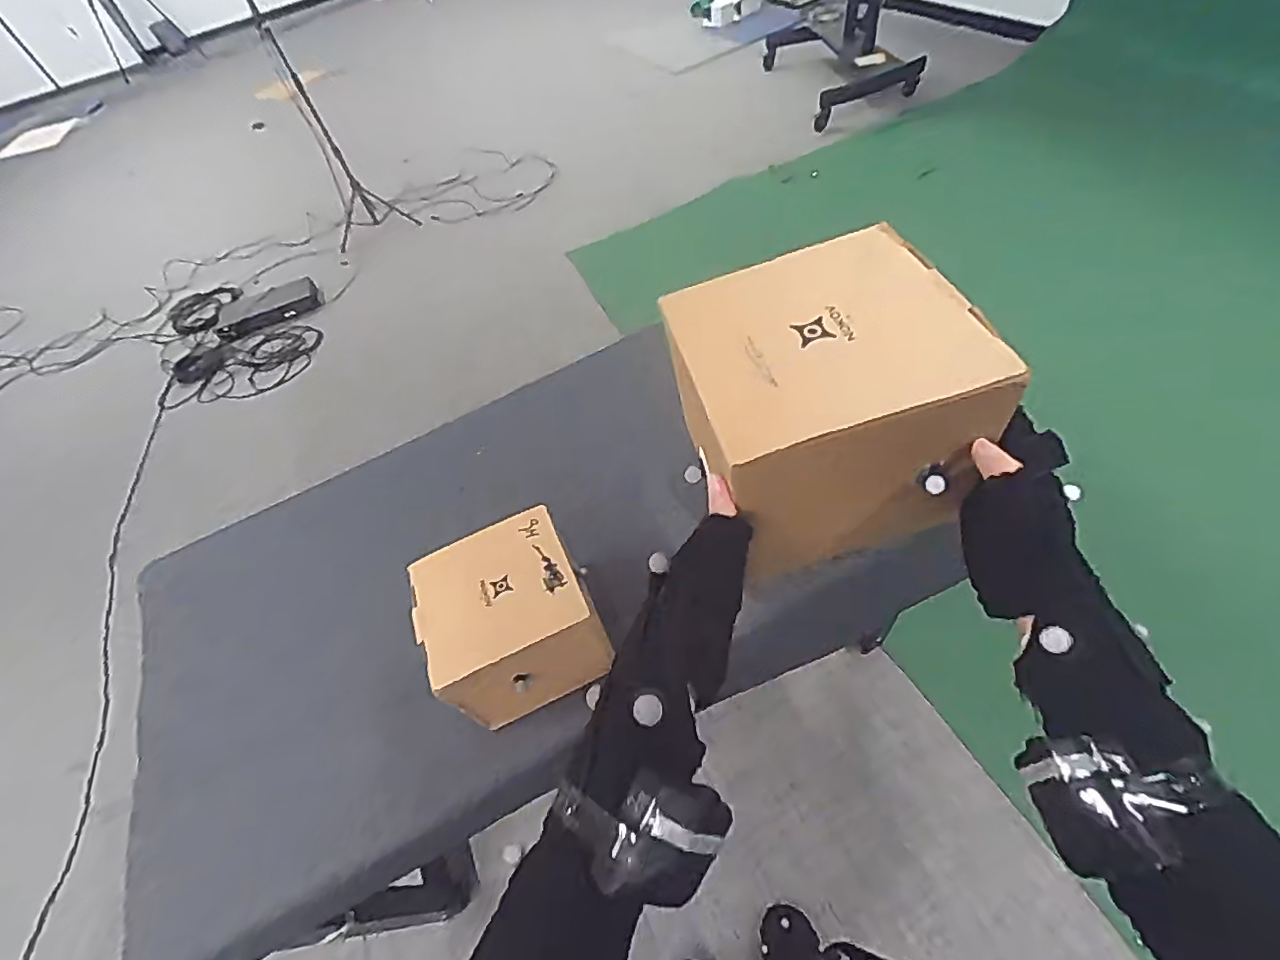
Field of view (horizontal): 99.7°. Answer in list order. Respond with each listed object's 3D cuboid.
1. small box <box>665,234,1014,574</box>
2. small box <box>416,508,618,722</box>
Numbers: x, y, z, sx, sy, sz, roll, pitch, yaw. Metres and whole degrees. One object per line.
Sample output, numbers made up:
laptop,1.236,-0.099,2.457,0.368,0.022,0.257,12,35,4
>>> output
small box,0.134,-0.051,0.425,0.179,0.176,0.168,-19,53,3
small box,-0.147,0.172,0.671,0.179,0.176,0.168,-25,53,-7
